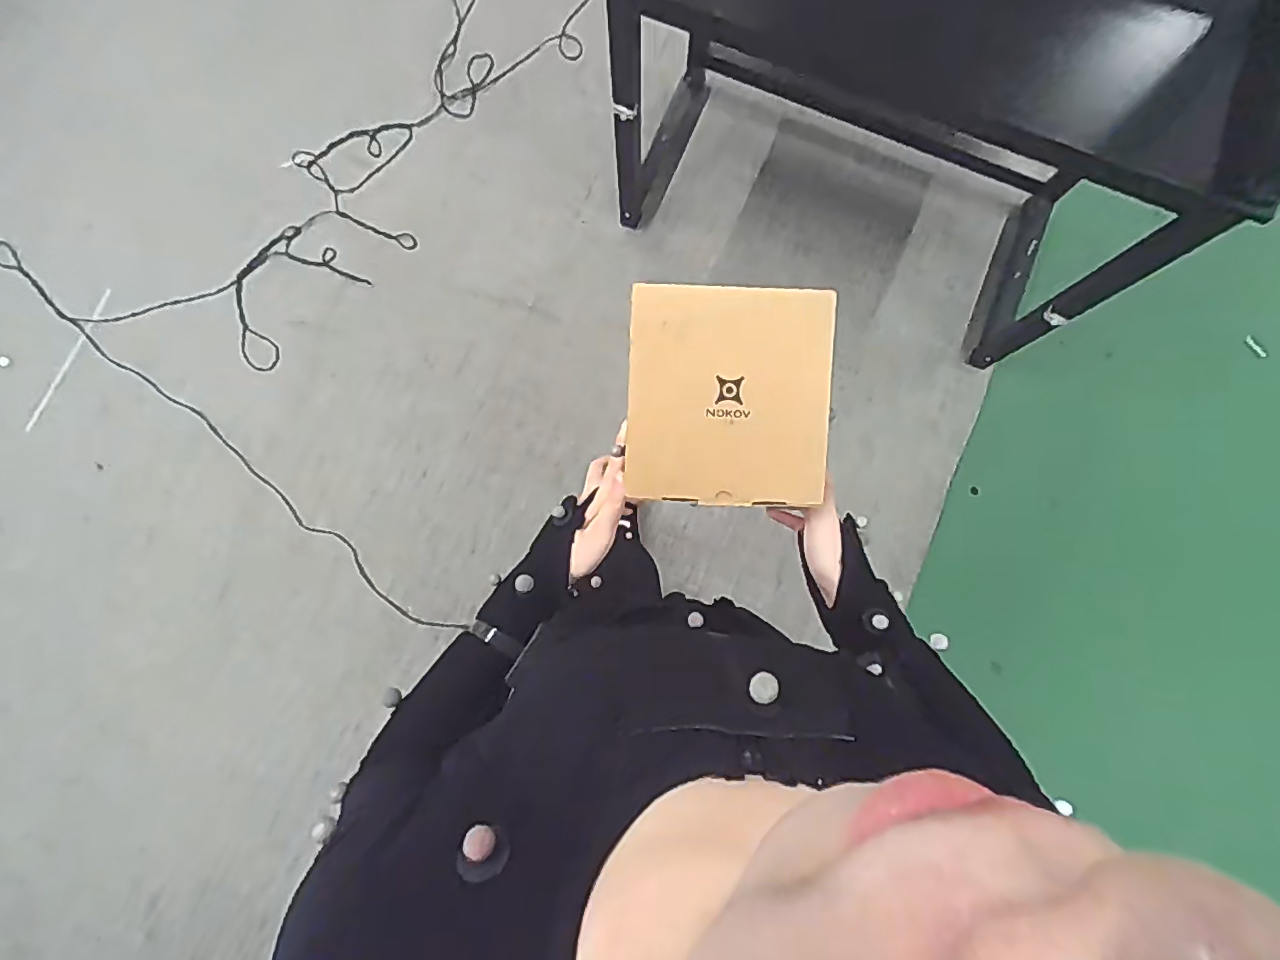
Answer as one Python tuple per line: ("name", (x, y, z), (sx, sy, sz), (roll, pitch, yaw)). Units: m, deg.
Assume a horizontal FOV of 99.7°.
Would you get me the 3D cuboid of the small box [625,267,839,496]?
("small box", (0.071, -0.081, 0.505), (0.168, 0.176, 0.179), (2, 94, 0))
